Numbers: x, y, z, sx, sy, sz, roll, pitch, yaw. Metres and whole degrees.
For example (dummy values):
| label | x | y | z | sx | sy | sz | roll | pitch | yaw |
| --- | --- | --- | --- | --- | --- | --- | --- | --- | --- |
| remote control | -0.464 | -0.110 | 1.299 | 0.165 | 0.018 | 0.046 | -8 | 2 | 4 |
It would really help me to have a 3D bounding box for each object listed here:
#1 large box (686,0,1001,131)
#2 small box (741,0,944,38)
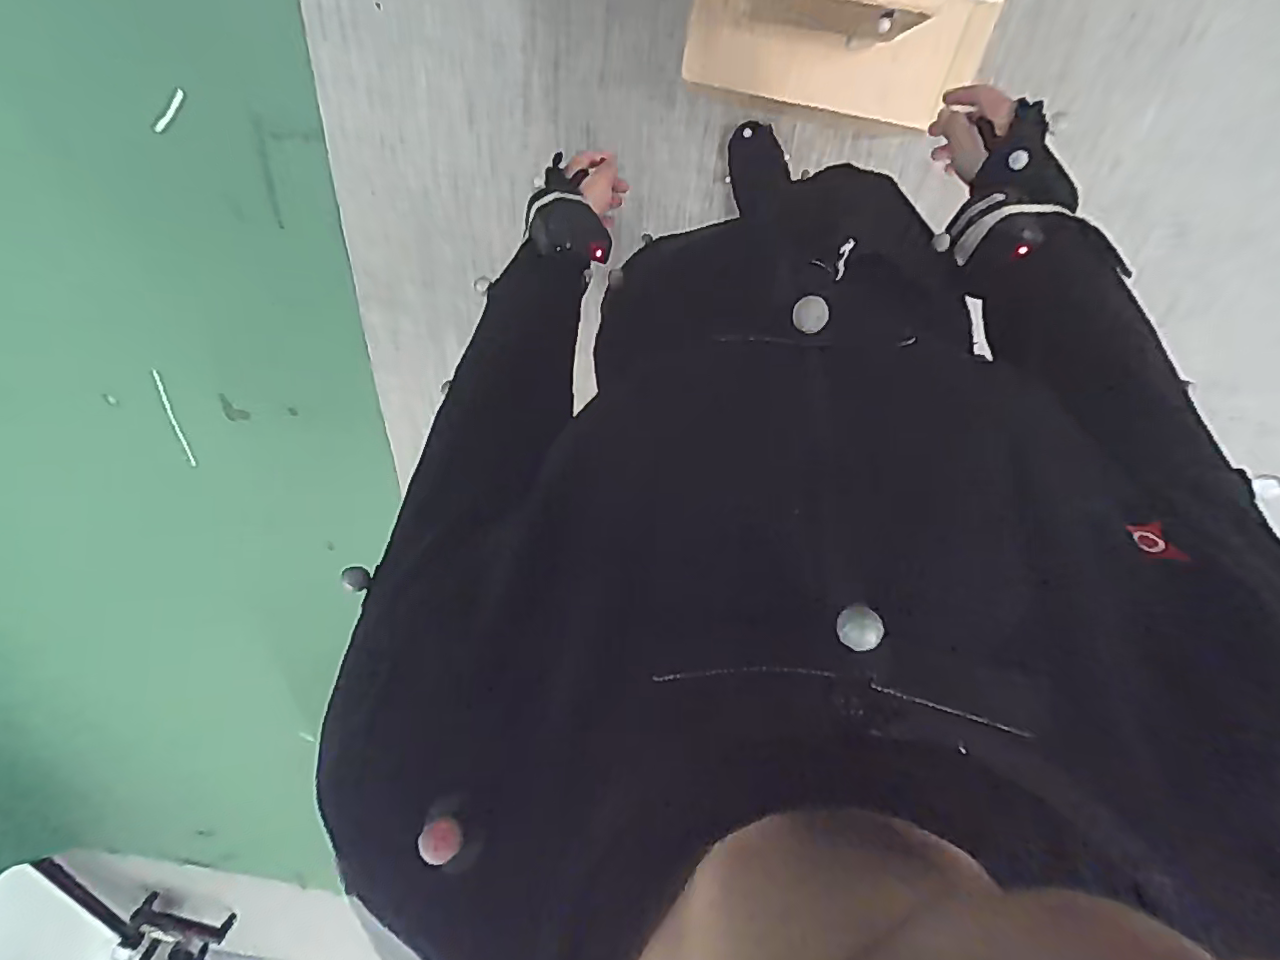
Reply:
| label | x | y | z | sx | sy | sz | roll | pitch | yaw |
| --- | --- | --- | --- | --- | --- | --- | --- | --- | --- |
| large box | 0.294 | -0.750 | 0.829 | 0.408 | 0.320 | 0.320 | 11 | 123 | -1 |
| small box | 0.196 | -0.531 | 0.495 | 0.179 | 0.176 | 0.168 | 9 | 122 | 0 |
